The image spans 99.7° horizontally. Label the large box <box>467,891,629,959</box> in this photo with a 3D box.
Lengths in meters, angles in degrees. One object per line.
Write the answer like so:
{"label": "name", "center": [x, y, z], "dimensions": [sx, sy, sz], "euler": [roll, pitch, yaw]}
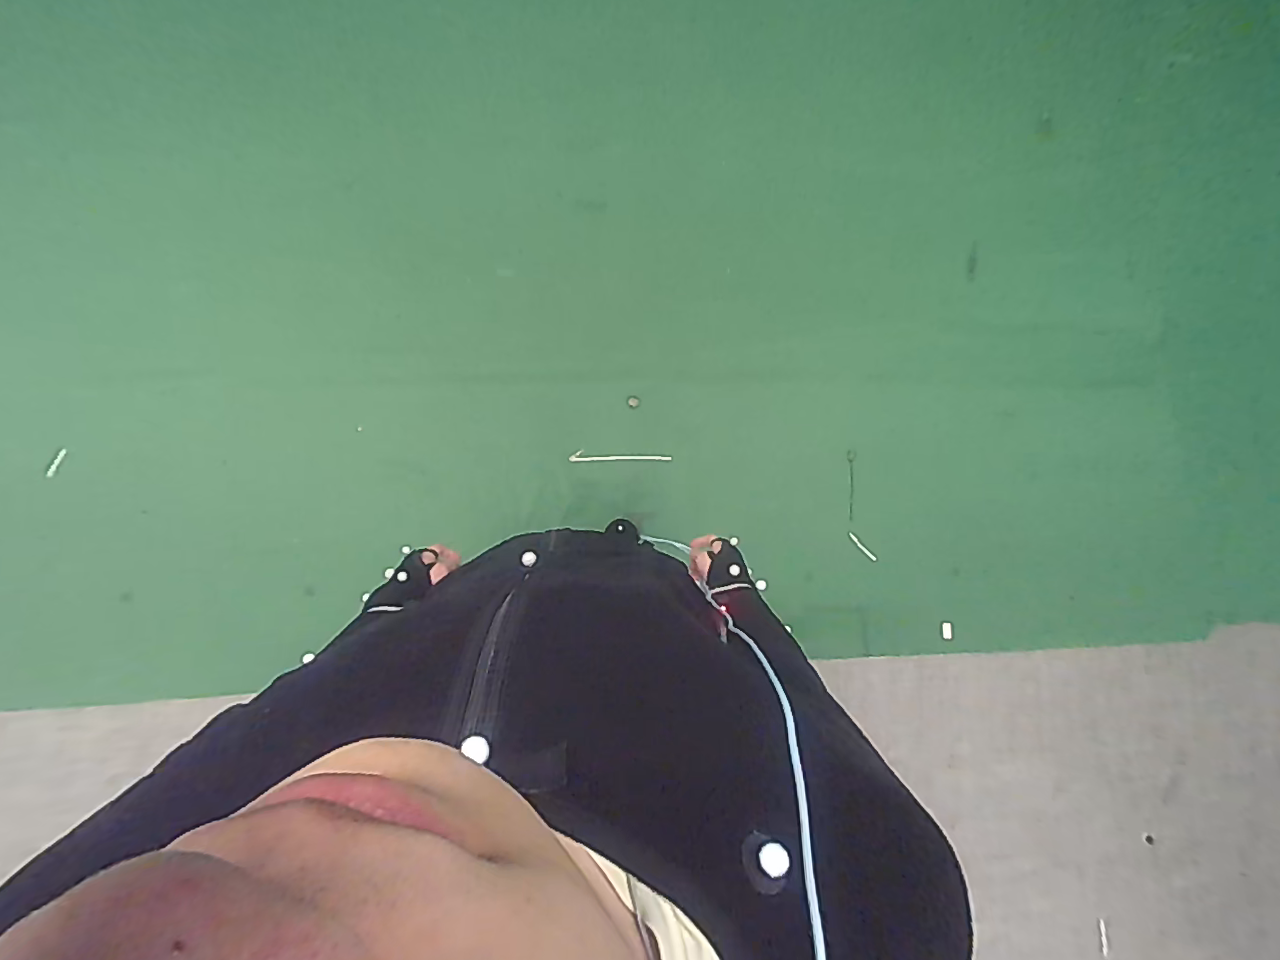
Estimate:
{"label": "large box", "center": [-0.227, 1.333, 1.387], "dimensions": [0.408, 0.320, 0.320], "euler": [-3, 85, -6]}
